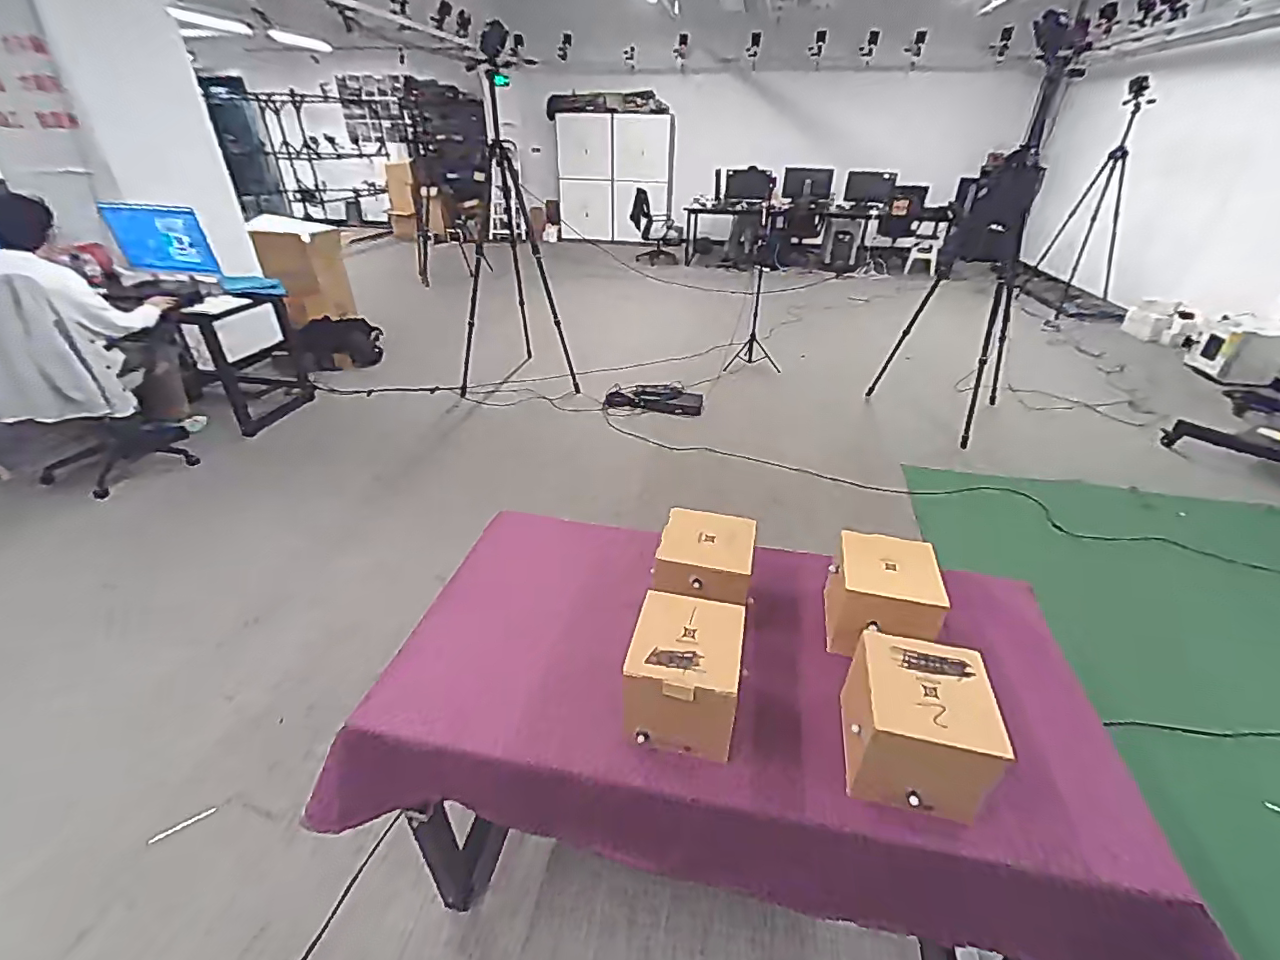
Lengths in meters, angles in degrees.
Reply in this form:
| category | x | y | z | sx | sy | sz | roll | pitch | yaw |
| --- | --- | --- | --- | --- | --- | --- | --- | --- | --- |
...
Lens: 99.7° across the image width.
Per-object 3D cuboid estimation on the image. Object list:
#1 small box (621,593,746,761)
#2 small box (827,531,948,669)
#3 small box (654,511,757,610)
| category | x | y | z | sx | sy | sz | roll | pitch | yaw |
| --- | --- | --- | --- | --- | --- | --- | --- | --- | --- |
| small box | 0.073 | 0.312 | 0.863 | 0.168 | 0.176 | 0.179 | 7 | 31 | 11 |
| small box | 0.449 | 0.223 | 1.009 | 0.168 | 0.176 | 0.179 | 8 | 32 | 13 |
| small box | 0.129 | 0.185 | 1.071 | 0.179 | 0.176 | 0.168 | 9 | 33 | 12 |
